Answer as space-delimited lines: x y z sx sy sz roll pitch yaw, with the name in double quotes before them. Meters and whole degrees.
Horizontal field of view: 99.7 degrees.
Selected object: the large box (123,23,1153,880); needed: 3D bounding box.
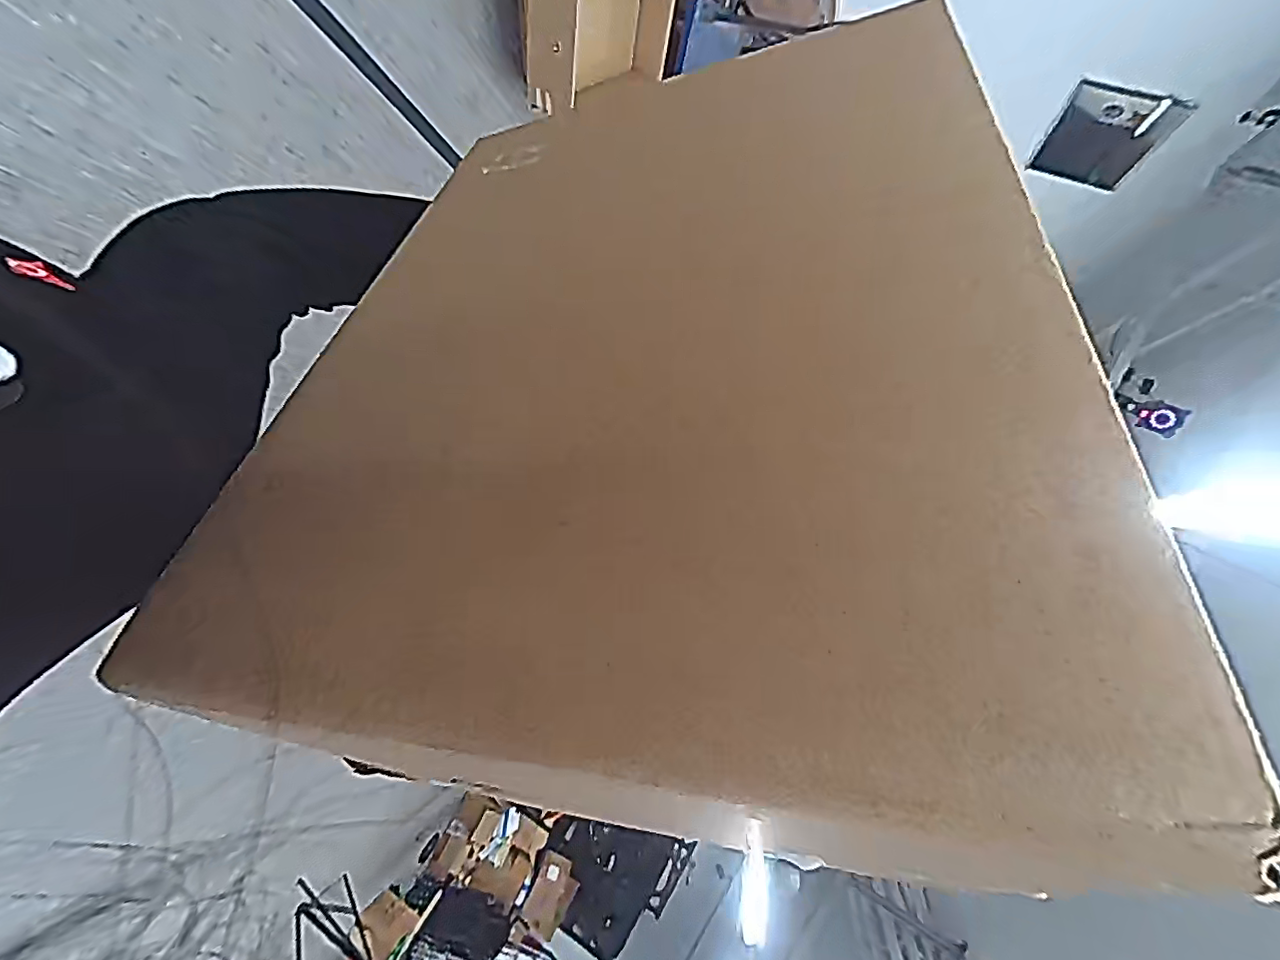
"large box" 0.034 -0.014 0.362 0.320 0.320 0.408 63 32 -49
